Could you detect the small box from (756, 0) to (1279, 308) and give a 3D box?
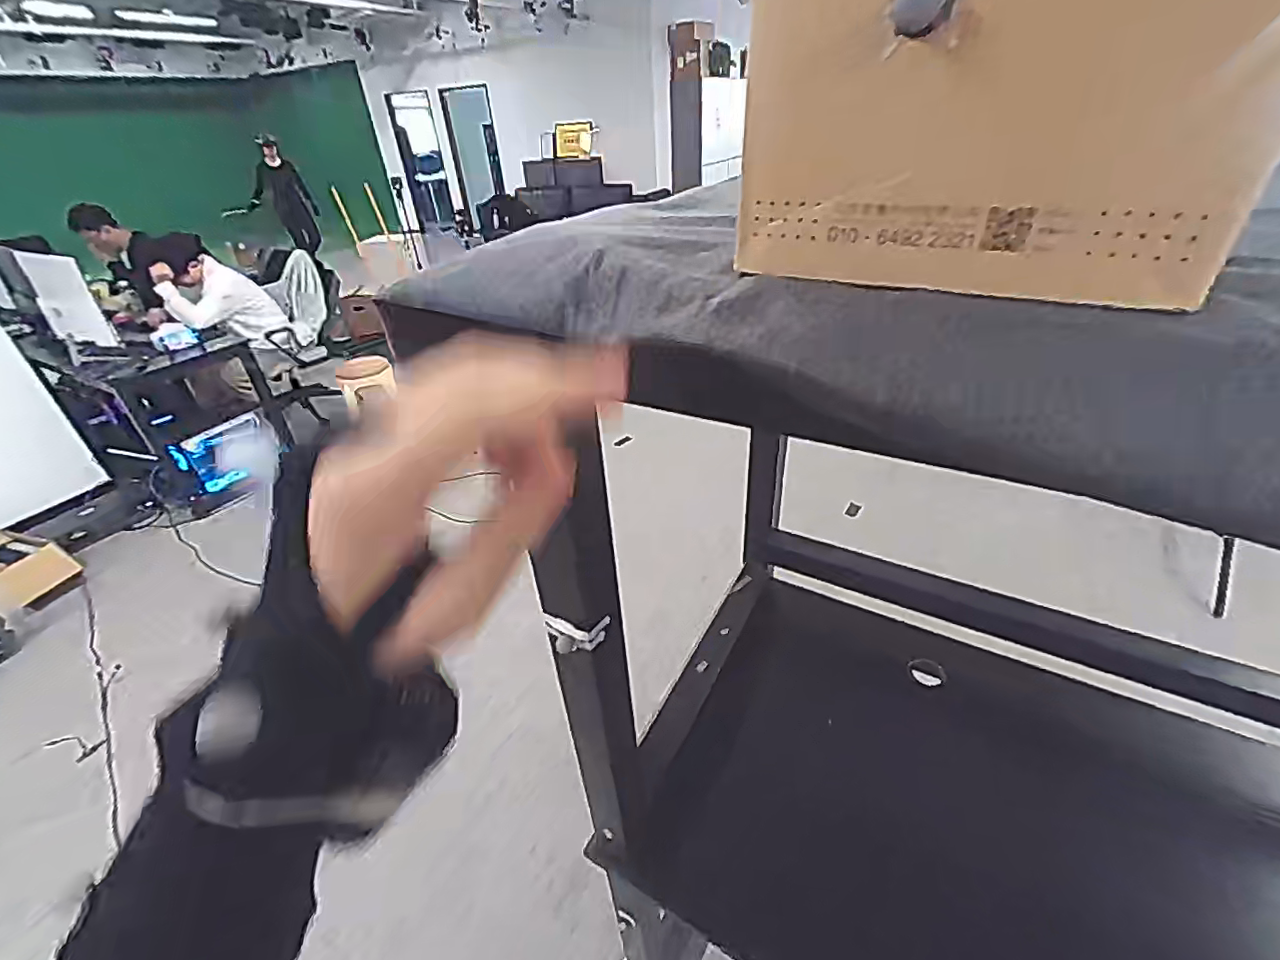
[{"bbox_3d":[0.156,-0.181,0.231,0.168,0.176,0.179,16,36,26],"label":"small box"}]
